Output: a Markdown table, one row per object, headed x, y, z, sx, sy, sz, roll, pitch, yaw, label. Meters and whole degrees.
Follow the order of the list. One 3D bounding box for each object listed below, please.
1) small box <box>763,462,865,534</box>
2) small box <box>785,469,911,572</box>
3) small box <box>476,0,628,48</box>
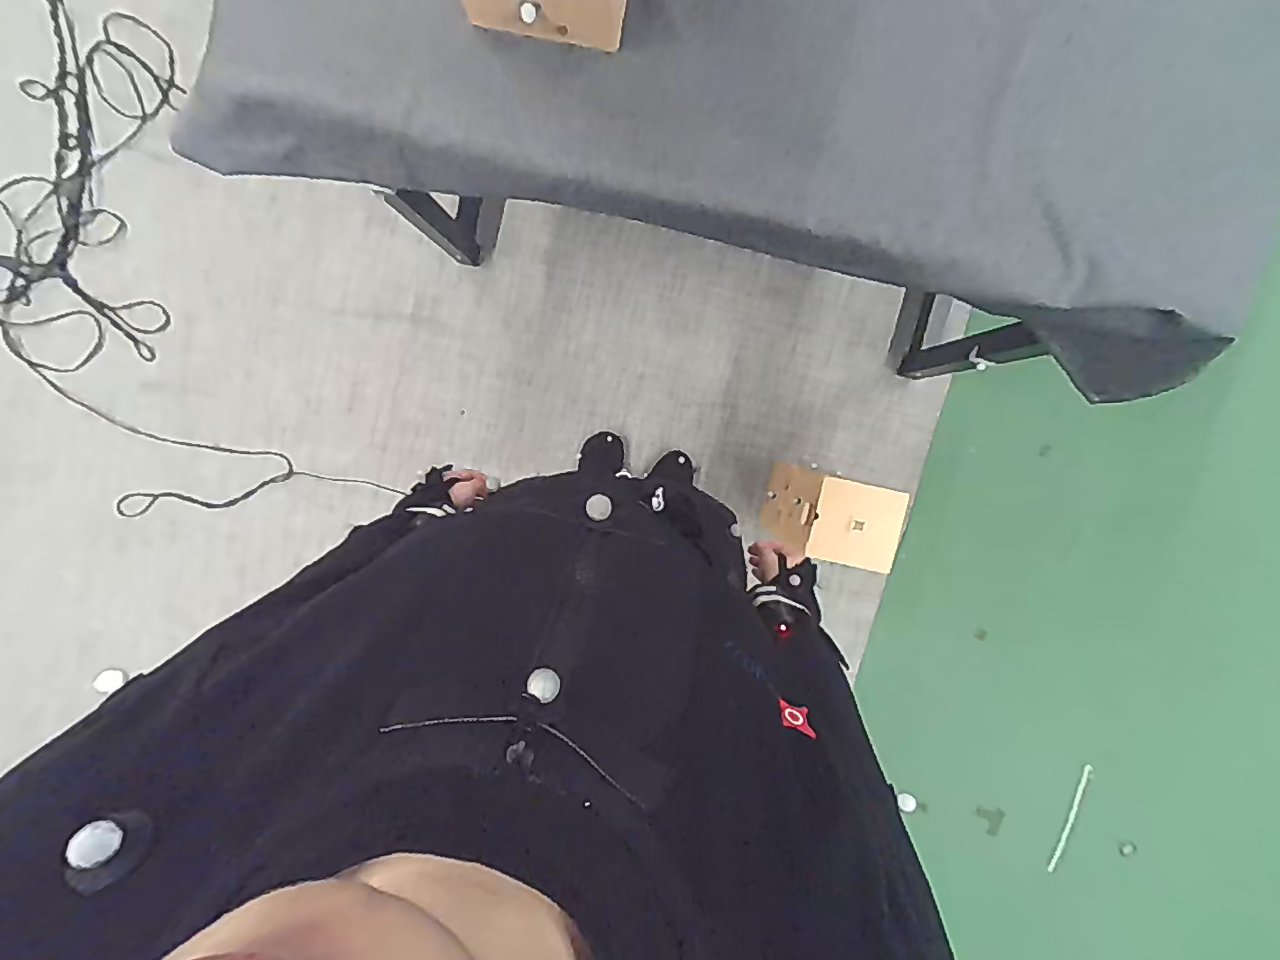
| x | y | z | sx | sy | sz | roll | pitch | yaw | label |
| --- | --- | --- | --- | --- | --- | --- | --- | --- | --- |
| 0.408 | 0.054 | 1.290 | 0.179 | 0.176 | 0.168 | 13 | 95 | 0 | small box |
| 0.423 | 0.076 | 1.127 | 0.179 | 0.176 | 0.168 | 12 | 96 | 0 | small box |
| -0.087 | -0.566 | 0.506 | 0.168 | 0.176 | 0.179 | 11 | 96 | 0 | small box |
